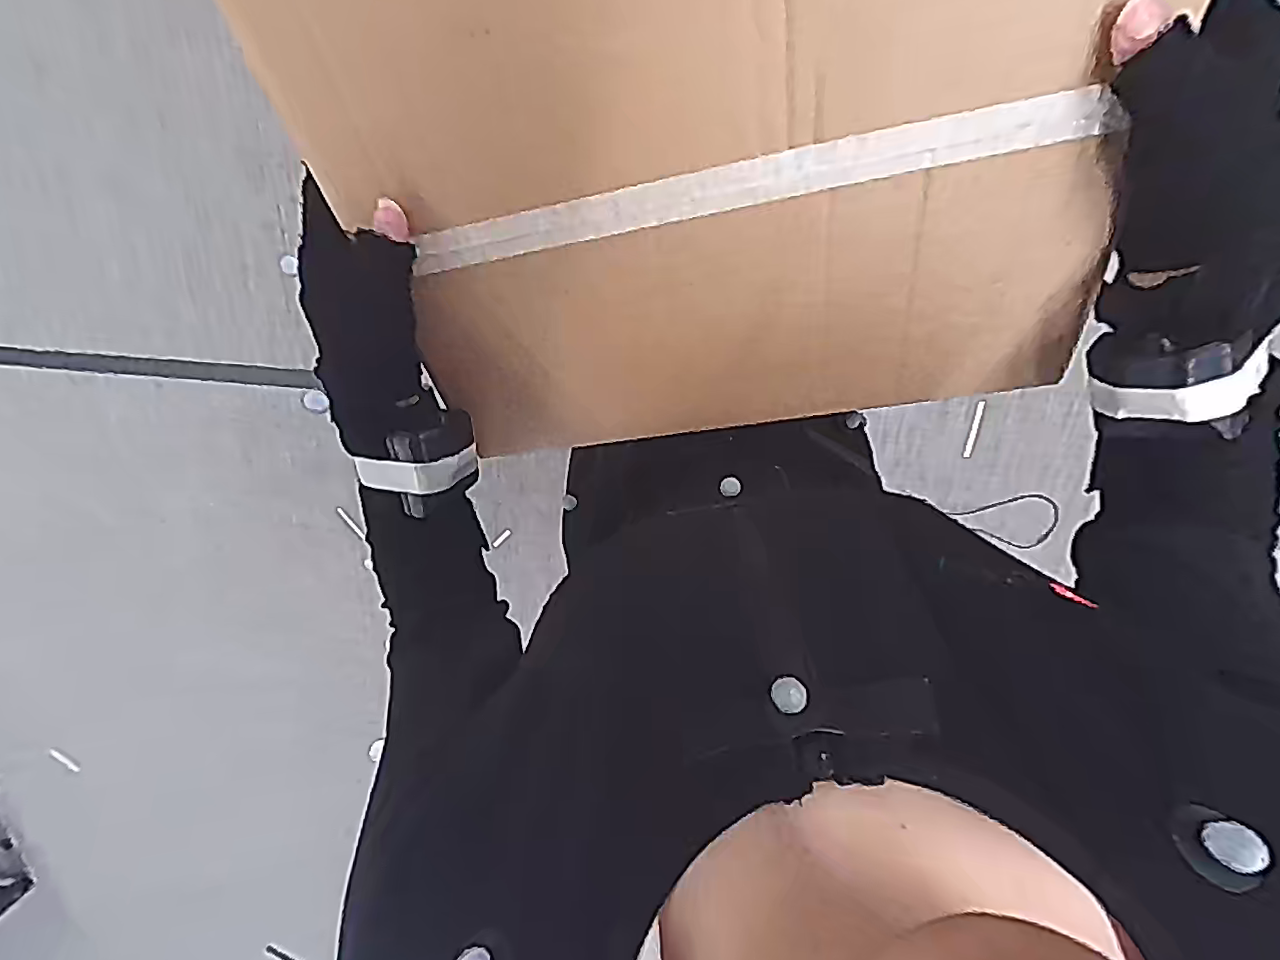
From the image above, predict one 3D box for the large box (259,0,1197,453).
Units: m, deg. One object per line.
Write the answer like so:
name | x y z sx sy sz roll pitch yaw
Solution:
large box | 0.052 -0.254 0.396 0.408 0.320 0.320 -6 134 10
